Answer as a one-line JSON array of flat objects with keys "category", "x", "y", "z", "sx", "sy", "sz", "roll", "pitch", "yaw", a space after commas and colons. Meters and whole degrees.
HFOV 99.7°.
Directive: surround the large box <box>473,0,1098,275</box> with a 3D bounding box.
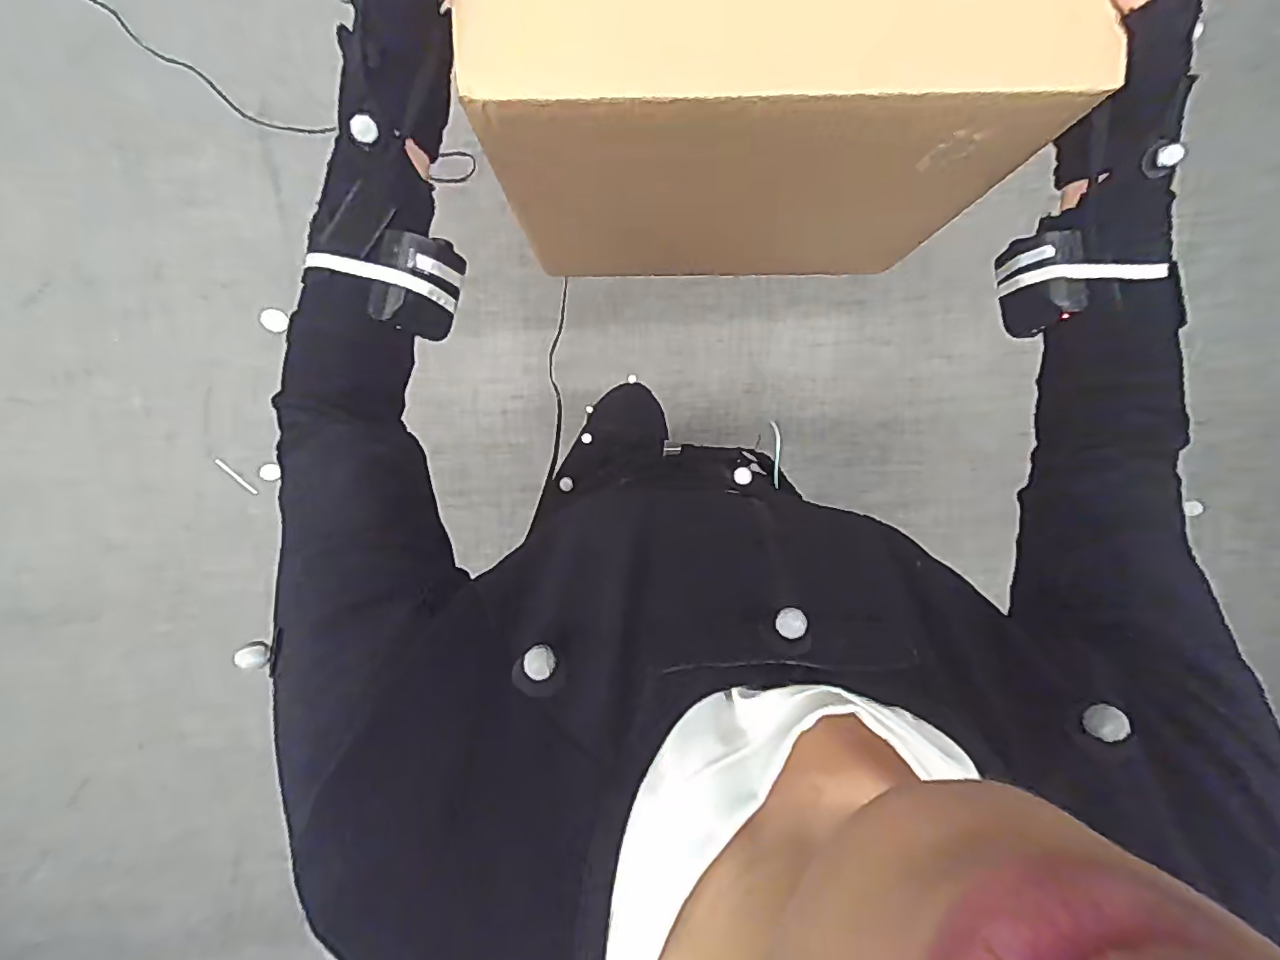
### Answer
[{"category": "large box", "x": 0.085, "y": -0.397, "z": 0.488, "sx": 0.408, "sy": 0.320, "sz": 0.320, "roll": -2, "pitch": 91, "yaw": -1}]
